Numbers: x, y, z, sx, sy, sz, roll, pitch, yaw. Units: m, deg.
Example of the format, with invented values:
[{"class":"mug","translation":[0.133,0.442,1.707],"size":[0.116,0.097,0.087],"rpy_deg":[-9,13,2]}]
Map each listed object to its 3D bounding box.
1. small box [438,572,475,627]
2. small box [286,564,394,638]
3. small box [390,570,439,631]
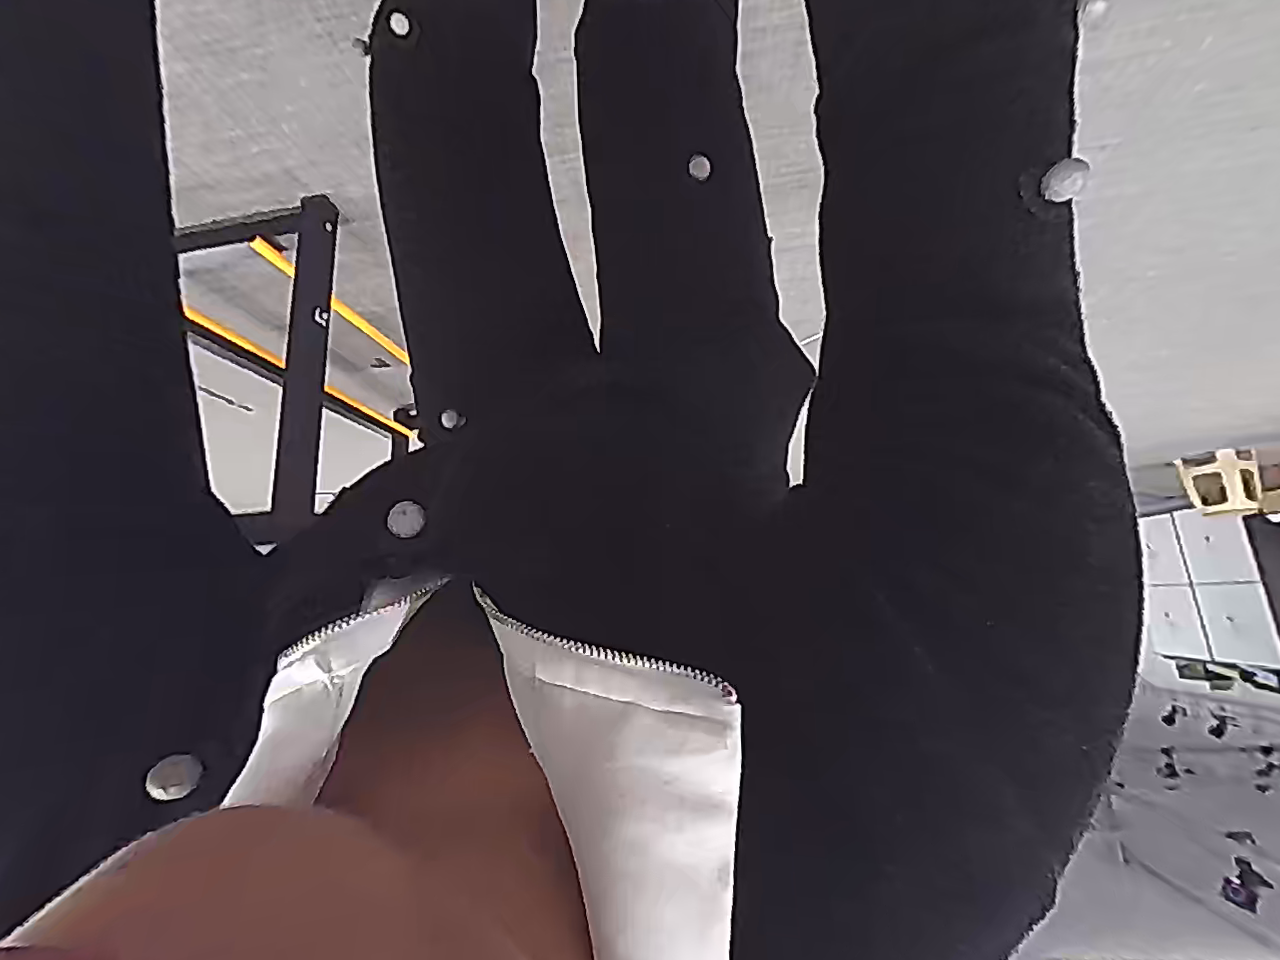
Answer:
[{"class":"small box","translation":[-0.660,0.398,1.787],"size":[0.179,0.176,0.168],"rpy_deg":[-6,168,8]},{"class":"small box","translation":[-0.734,0.299,1.343],"size":[0.168,0.176,0.179],"rpy_deg":[-5,166,7]},{"class":"small box","translation":[-0.705,0.353,1.576],"size":[0.168,0.176,0.179],"rpy_deg":[-4,167,6]}]
